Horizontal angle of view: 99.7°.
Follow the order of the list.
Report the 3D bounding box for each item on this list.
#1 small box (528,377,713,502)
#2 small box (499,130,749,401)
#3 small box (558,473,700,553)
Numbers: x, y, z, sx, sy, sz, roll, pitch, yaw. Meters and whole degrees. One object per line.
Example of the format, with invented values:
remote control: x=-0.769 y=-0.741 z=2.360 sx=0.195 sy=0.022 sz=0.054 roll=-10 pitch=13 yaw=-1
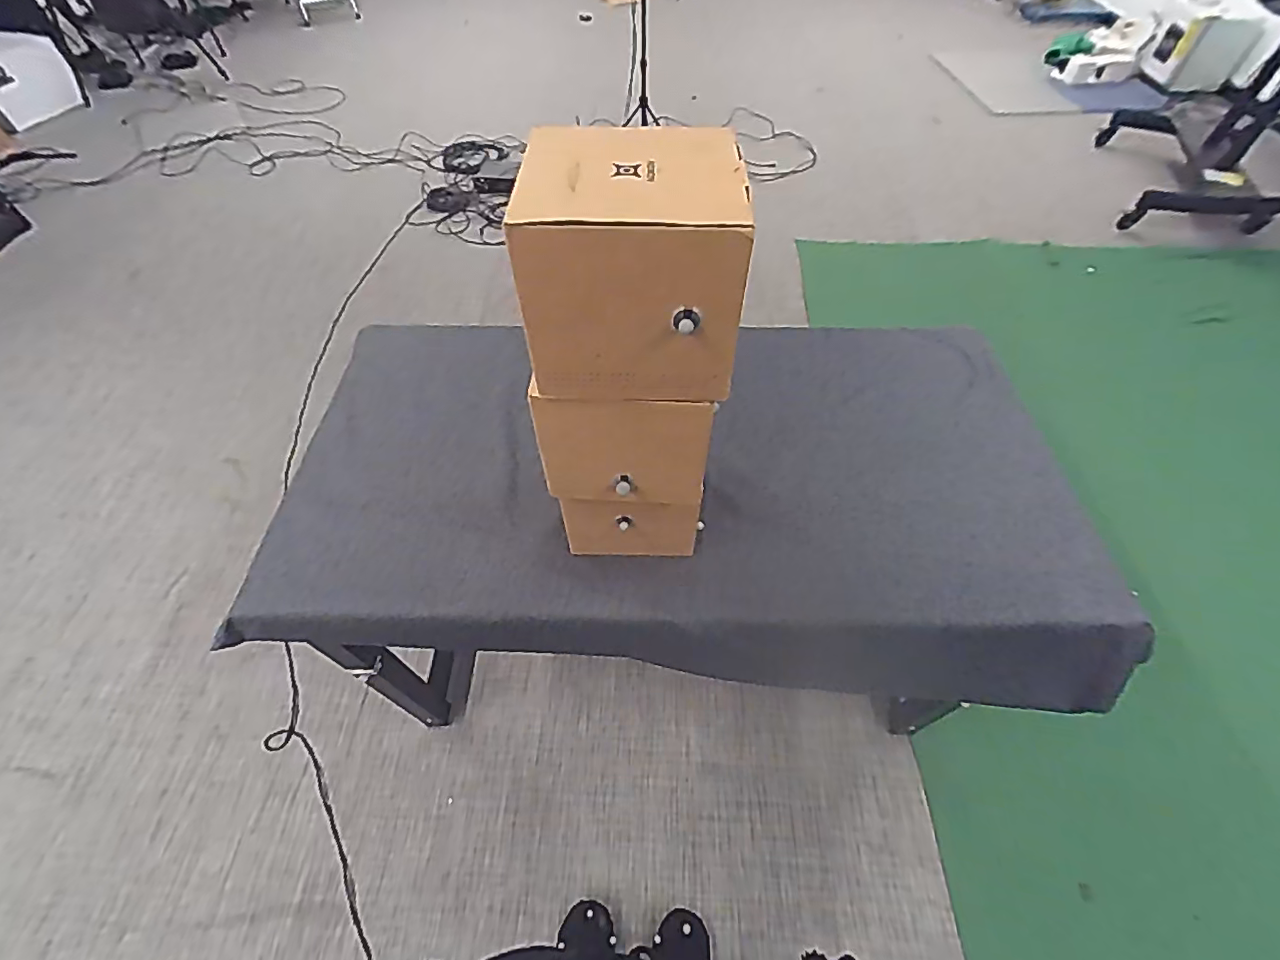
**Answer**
small box: x=-0.017 y=-0.086 z=0.615 sx=0.179 sy=0.176 sz=0.168 roll=0 pitch=55 yaw=1
small box: x=-0.009 y=-0.184 z=0.482 sx=0.179 sy=0.176 sz=0.168 roll=-1 pitch=52 yaw=2
small box: x=-0.012 y=-0.008 z=0.757 sx=0.179 sy=0.176 sz=0.168 roll=0 pitch=53 yaw=2
